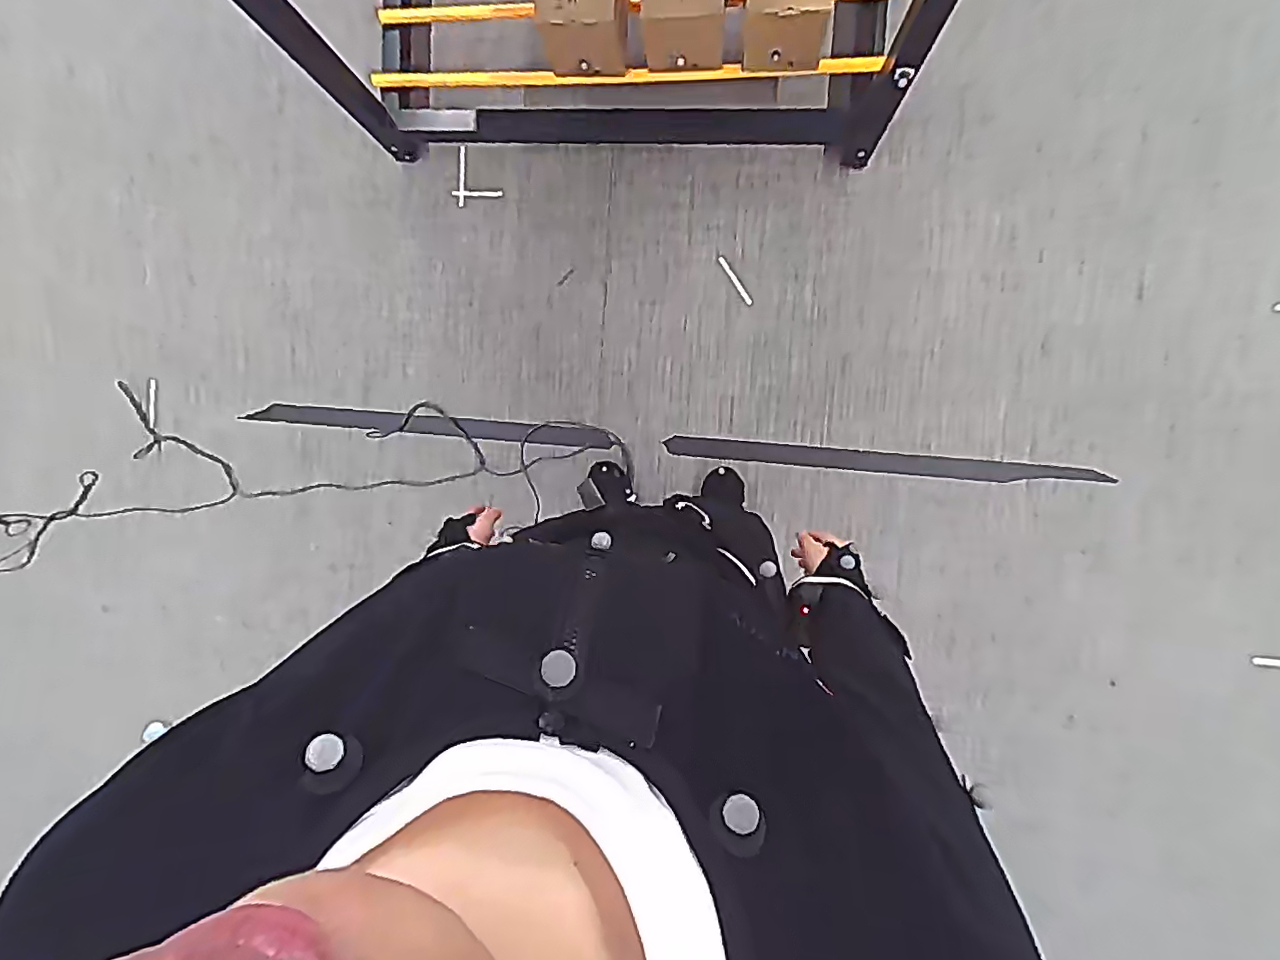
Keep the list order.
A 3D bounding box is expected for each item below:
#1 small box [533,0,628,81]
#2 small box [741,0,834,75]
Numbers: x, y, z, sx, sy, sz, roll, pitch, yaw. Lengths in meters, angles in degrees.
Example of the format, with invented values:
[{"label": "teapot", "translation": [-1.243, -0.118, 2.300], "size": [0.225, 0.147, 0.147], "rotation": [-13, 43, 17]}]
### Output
[{"label": "small box", "translation": [-0.120, -0.998, 1.151], "size": [0.168, 0.176, 0.179], "rotation": [5, 95, 6]}, {"label": "small box", "translation": [0.297, -0.974, 1.104], "size": [0.168, 0.176, 0.179], "rotation": [3, 94, 7]}]
